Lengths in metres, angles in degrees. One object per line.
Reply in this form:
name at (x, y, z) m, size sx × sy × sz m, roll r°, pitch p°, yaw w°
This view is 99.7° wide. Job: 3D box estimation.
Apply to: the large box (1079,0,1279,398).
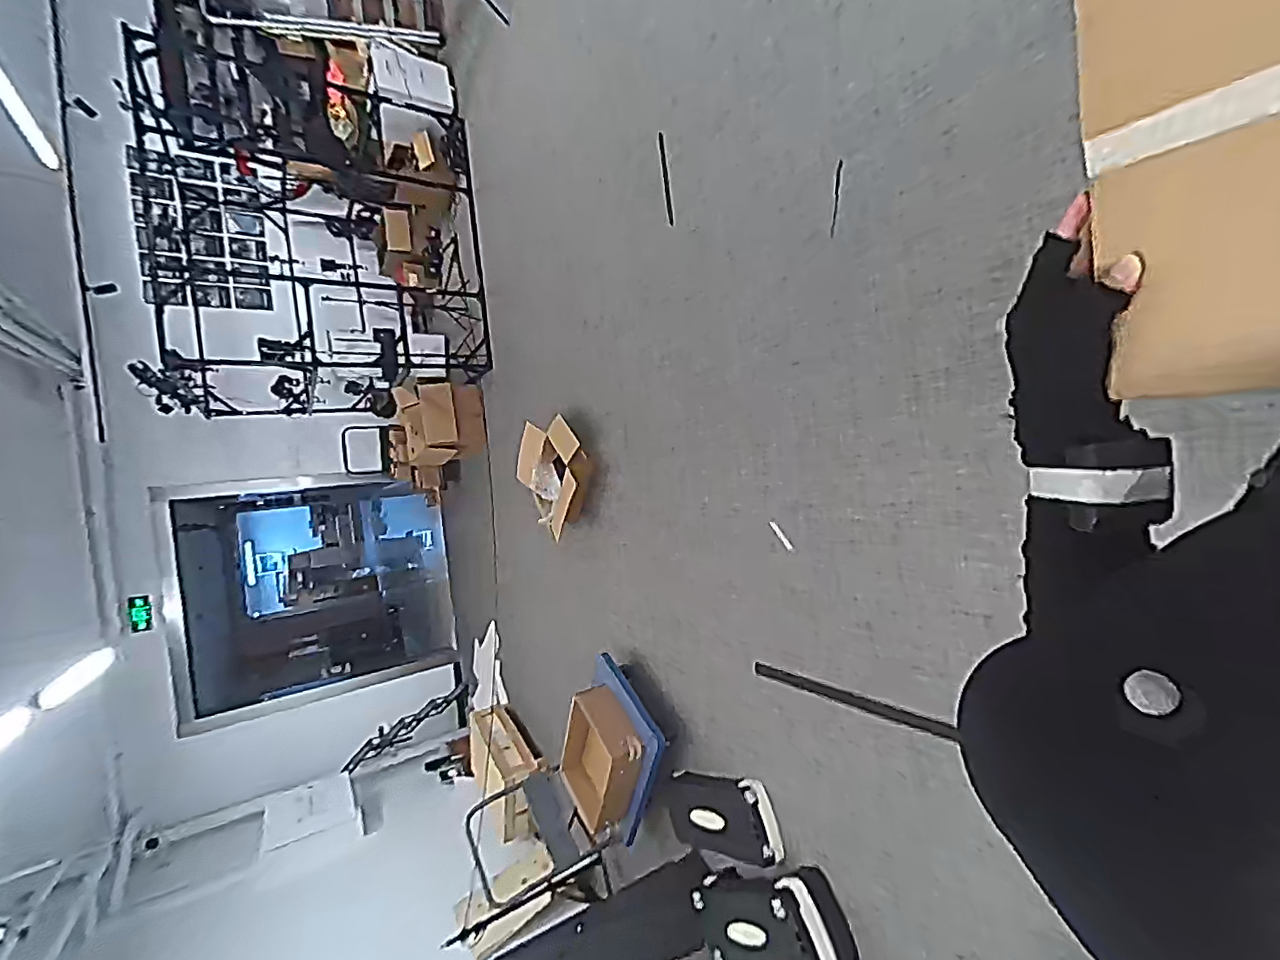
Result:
large box at (0.519, -0.240, 0.257) m, size 0.408 × 0.320 × 0.320 m, roll 5°, pitch 113°, yaw 58°
